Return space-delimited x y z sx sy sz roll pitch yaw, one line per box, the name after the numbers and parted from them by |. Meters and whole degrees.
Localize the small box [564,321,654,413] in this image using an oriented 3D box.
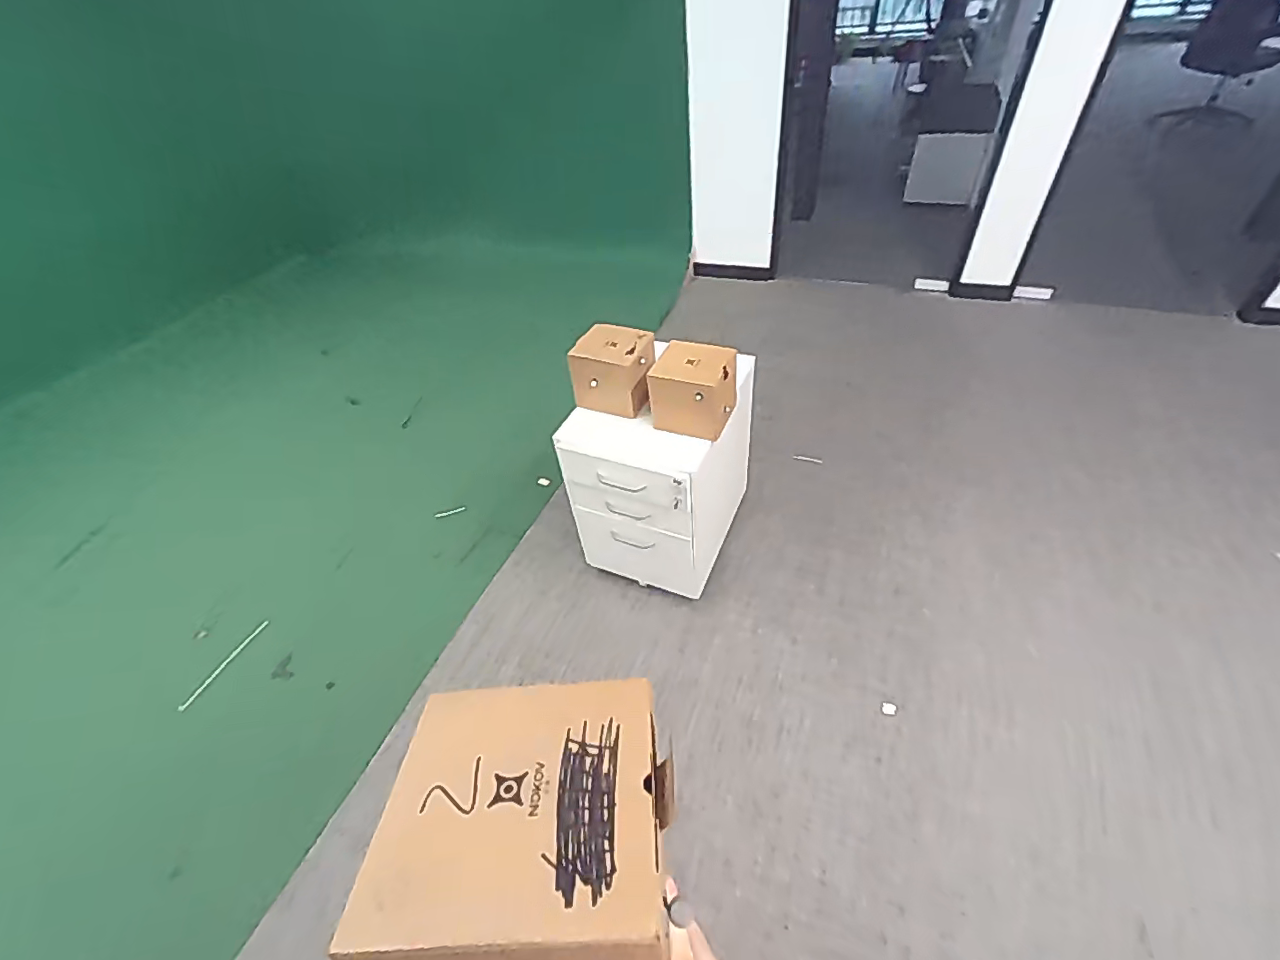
-0.074 -0.298 1.433 0.179 0.176 0.168 14 50 20 | small box
